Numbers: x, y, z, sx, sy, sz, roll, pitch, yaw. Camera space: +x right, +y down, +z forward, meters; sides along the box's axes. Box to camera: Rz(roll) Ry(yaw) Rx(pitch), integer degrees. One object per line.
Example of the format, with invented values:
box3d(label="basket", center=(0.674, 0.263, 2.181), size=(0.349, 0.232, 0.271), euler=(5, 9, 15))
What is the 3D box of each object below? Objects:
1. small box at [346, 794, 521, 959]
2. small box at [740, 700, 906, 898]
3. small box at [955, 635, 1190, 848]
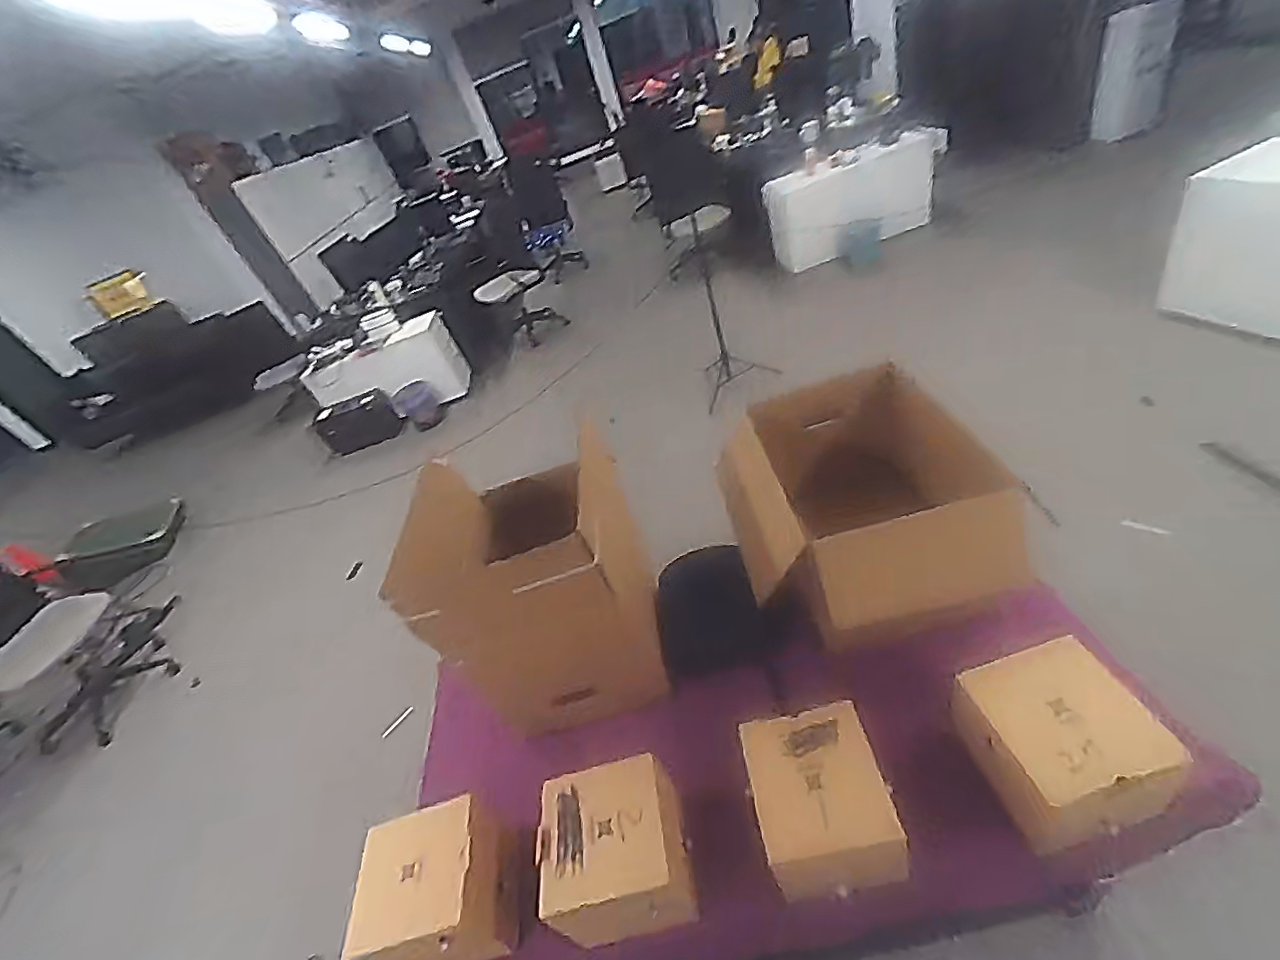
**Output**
box3d(label="small box", center=(-0.299, 0.621, 0.822), size=(0.179, 0.176, 0.168), euler=(-20, 37, 2))
box3d(label="small box", center=(0.250, 0.443, 0.752), size=(0.168, 0.176, 0.179), euler=(-17, 38, 8))
box3d(label="small box", center=(0.545, 0.345, 0.717), size=(0.168, 0.176, 0.179), euler=(-22, 37, 4))
